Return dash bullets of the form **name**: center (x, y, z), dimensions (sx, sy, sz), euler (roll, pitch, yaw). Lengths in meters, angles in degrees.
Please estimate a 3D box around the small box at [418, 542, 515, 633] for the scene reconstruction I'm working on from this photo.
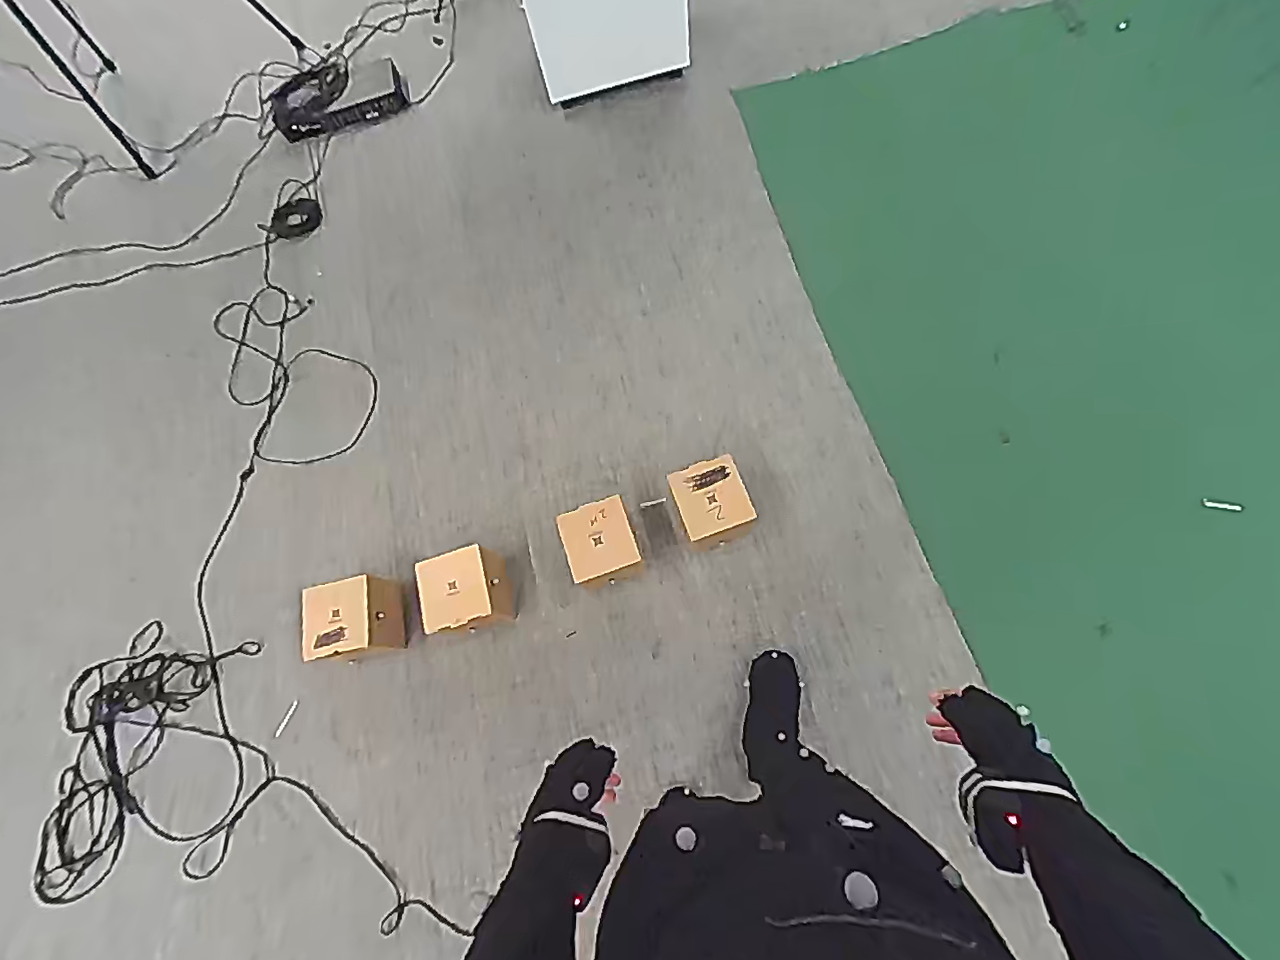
- **small box**: center (-0.433, 0.277, 1.363), dimensions (0.168, 0.176, 0.179), euler (-18, 71, 1)

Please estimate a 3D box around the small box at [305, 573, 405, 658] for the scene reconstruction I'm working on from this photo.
- **small box**: center (-0.715, 0.348, 1.371), dimensions (0.168, 0.176, 0.179), euler (-13, 69, 2)

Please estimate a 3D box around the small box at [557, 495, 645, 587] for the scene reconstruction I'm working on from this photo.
- **small box**: center (-0.092, 0.162, 1.358), dimensions (0.168, 0.176, 0.179), euler (-19, 70, -1)
